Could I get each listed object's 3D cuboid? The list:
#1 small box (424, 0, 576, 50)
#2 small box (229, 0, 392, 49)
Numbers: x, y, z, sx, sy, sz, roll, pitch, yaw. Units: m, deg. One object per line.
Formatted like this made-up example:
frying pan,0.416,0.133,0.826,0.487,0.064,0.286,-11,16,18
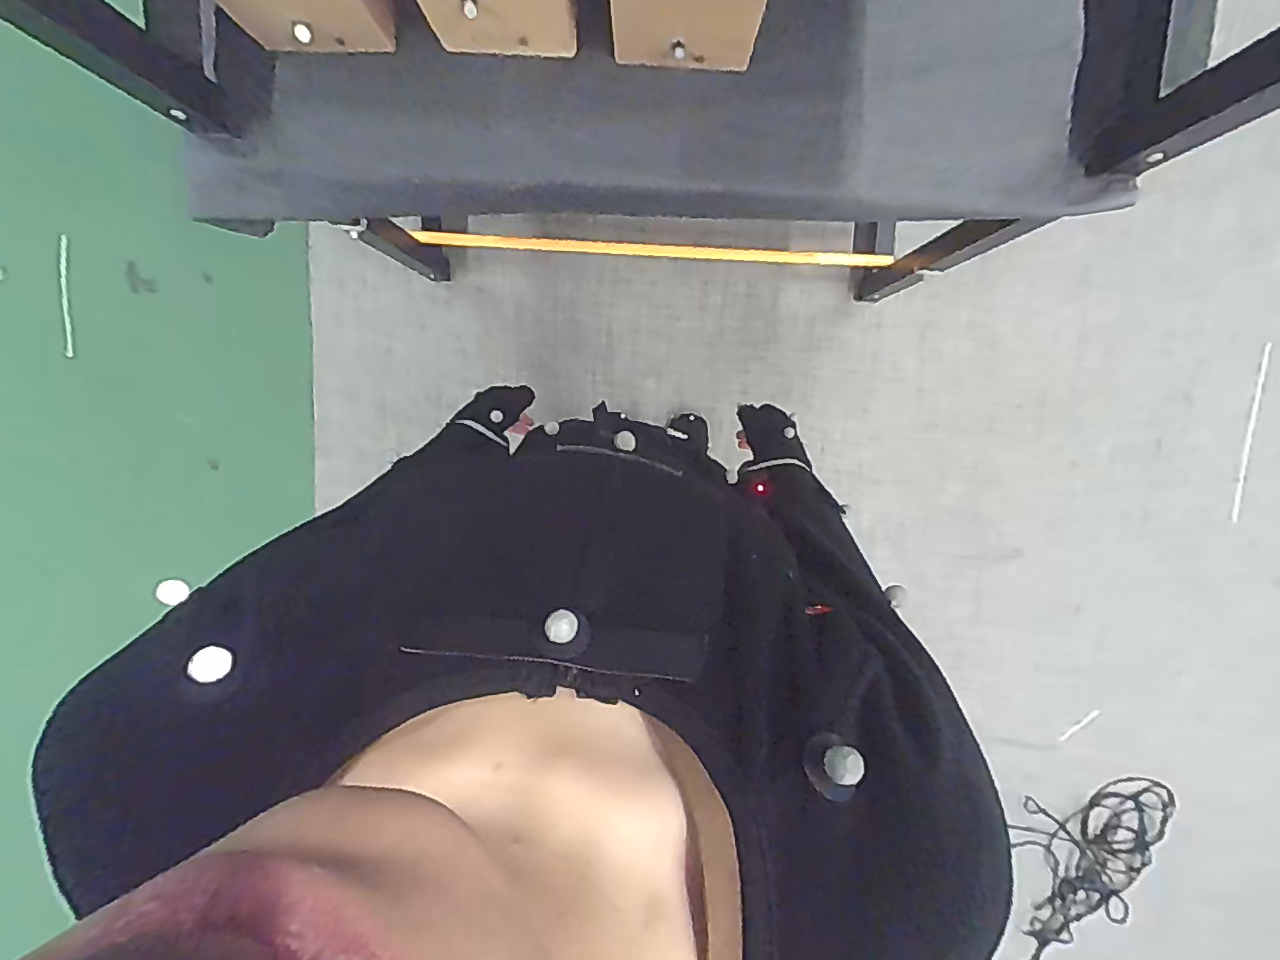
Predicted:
small box,-0.158,-0.609,0.582,0.168,0.176,0.179,3,97,0
small box,-0.385,-0.615,0.581,0.168,0.176,0.179,1,98,1
